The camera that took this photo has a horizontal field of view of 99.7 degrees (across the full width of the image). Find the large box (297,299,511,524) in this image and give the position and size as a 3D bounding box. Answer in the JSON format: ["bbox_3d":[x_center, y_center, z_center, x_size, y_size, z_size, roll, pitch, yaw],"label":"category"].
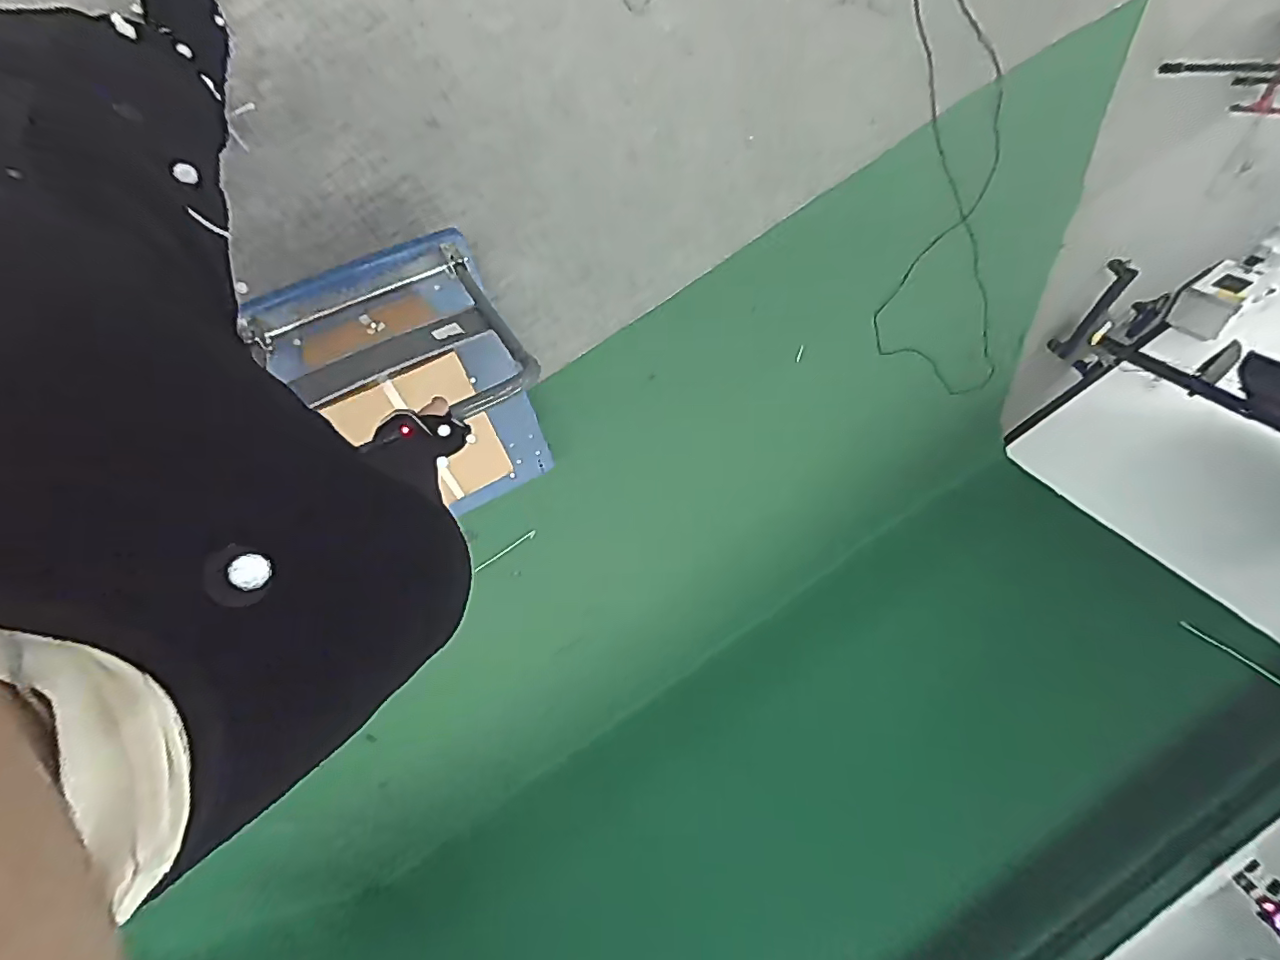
[{"bbox_3d":[-0.584,-0.172,1.372,0.320,0.320,0.408,-28,141,-12],"label":"large box"}]
